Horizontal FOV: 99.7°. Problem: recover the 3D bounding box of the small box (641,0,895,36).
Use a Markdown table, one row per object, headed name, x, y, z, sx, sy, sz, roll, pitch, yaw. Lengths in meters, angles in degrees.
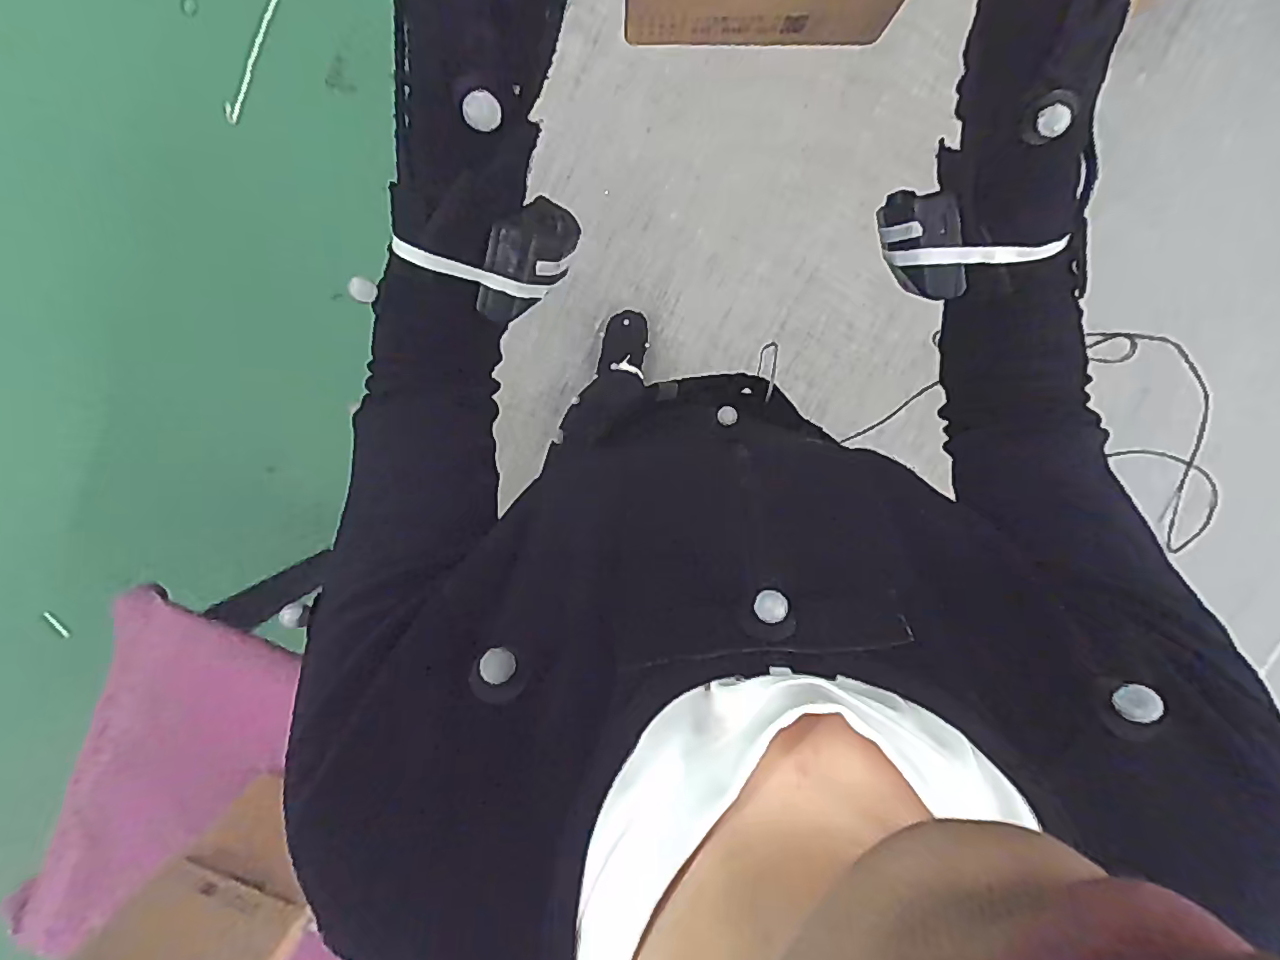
| name | x | y | z | sx | sy | sz | roll | pitch | yaw |
| --- | --- | --- | --- | --- | --- | --- | --- | --- | --- |
| small box | 0.076 | -0.354 | 0.254 | 0.168 | 0.176 | 0.179 | -1 | 99 | -2 |
